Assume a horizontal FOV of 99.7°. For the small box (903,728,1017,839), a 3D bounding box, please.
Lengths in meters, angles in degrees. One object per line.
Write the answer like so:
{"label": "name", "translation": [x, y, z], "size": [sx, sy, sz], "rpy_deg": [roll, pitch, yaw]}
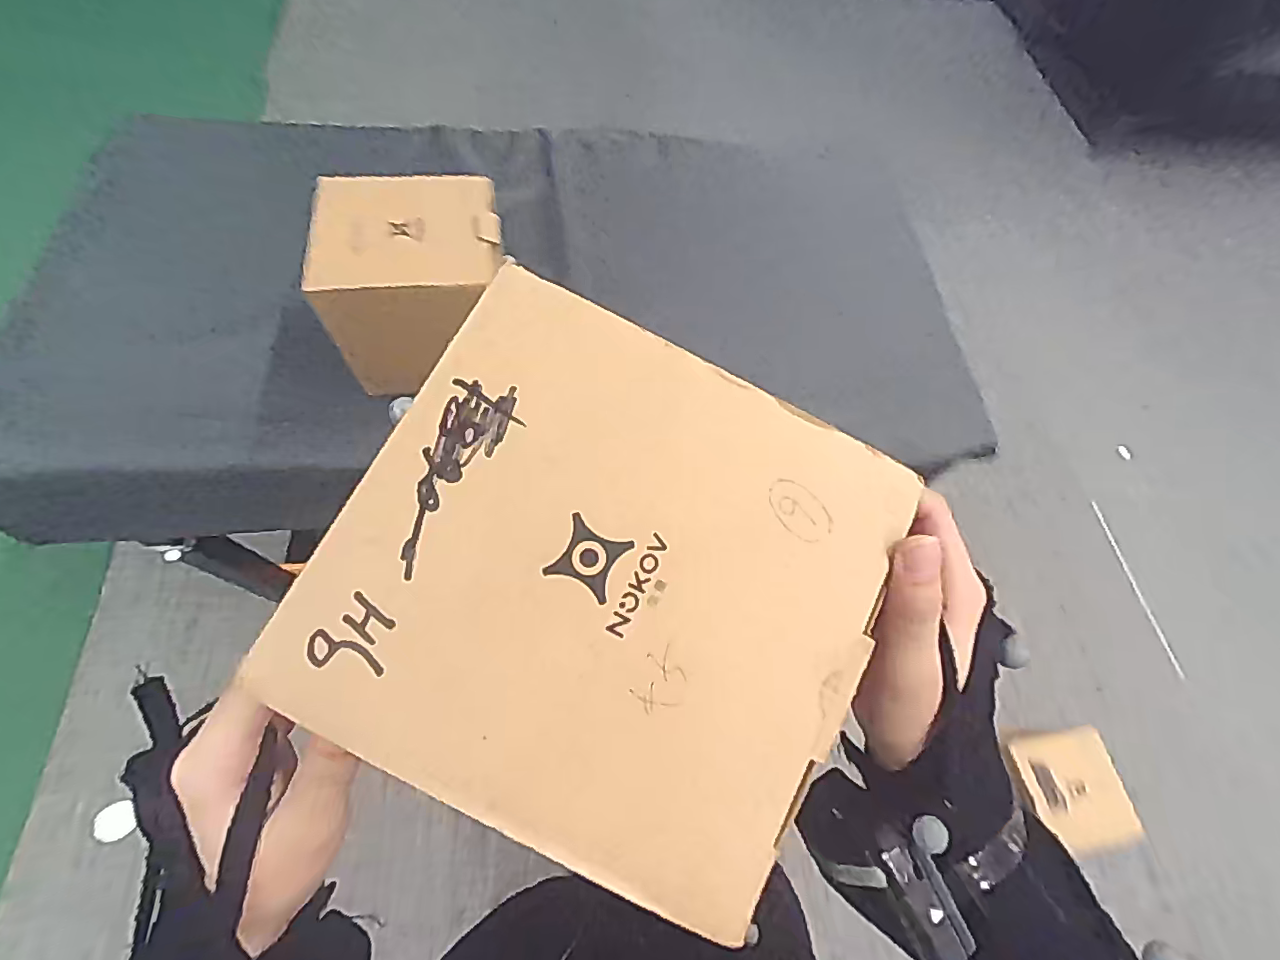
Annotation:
{"label": "small box", "translation": [0.685, 0.614, 1.112], "size": [0.179, 0.176, 0.168], "rpy_deg": [-8, 64, -9]}

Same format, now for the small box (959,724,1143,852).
{"label": "small box", "translation": [0.711, 0.542, 0.966], "size": [0.179, 0.176, 0.168], "rpy_deg": [-6, 65, -10]}

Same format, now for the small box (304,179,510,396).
{"label": "small box", "translation": [-0.247, -0.213, 0.620], "size": [0.179, 0.176, 0.168], "rpy_deg": [-6, 63, -8]}
